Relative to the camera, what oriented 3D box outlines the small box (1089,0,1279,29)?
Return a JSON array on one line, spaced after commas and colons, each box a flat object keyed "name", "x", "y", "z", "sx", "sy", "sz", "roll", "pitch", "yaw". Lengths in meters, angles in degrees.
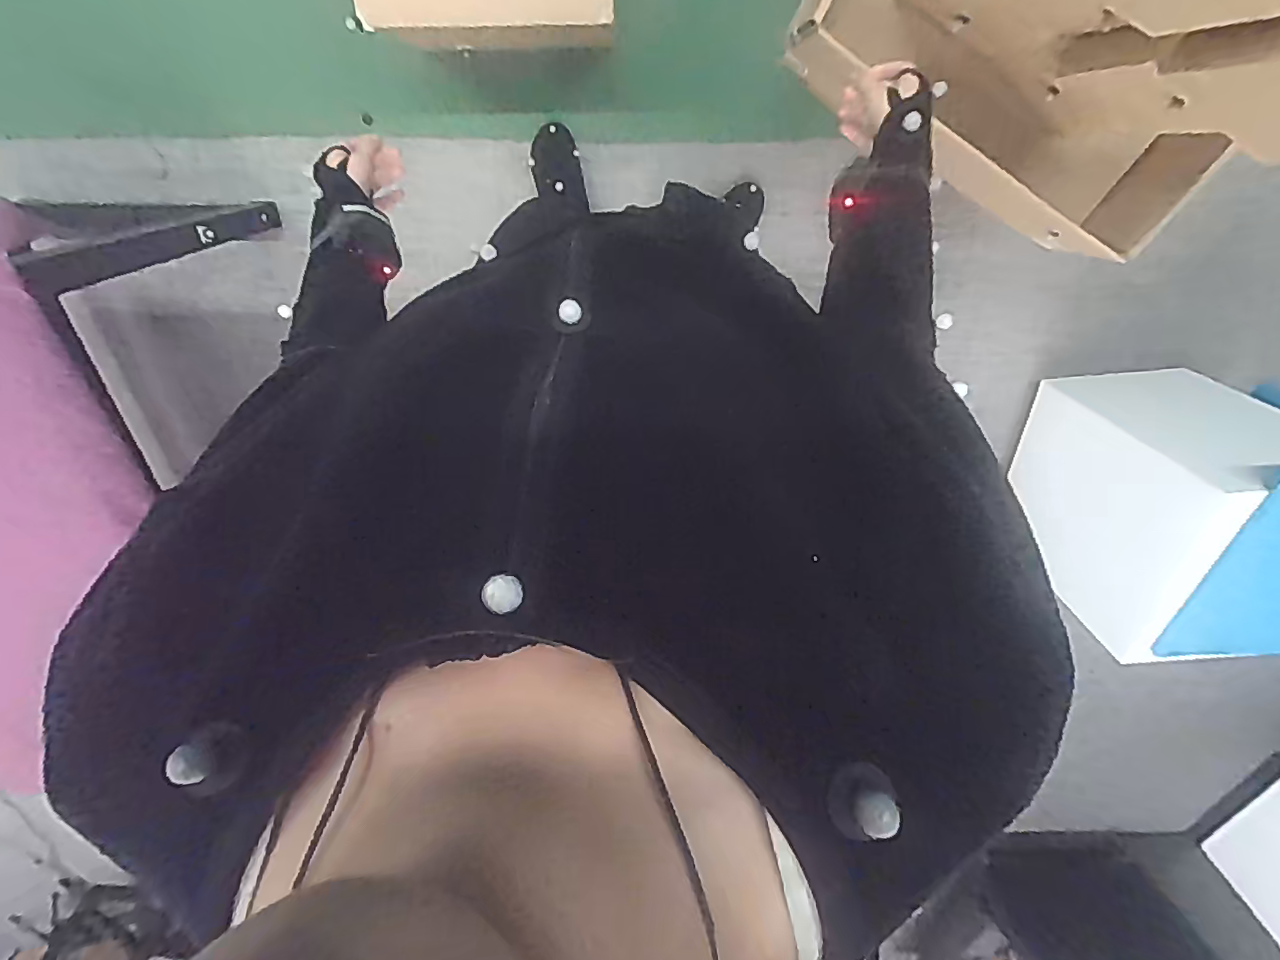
[{"name": "small box", "x": 0.452, "y": -0.475, "z": 0.403, "sx": 0.179, "sy": 0.176, "sz": 0.168, "roll": 18, "pitch": 119, "yaw": -11}]
